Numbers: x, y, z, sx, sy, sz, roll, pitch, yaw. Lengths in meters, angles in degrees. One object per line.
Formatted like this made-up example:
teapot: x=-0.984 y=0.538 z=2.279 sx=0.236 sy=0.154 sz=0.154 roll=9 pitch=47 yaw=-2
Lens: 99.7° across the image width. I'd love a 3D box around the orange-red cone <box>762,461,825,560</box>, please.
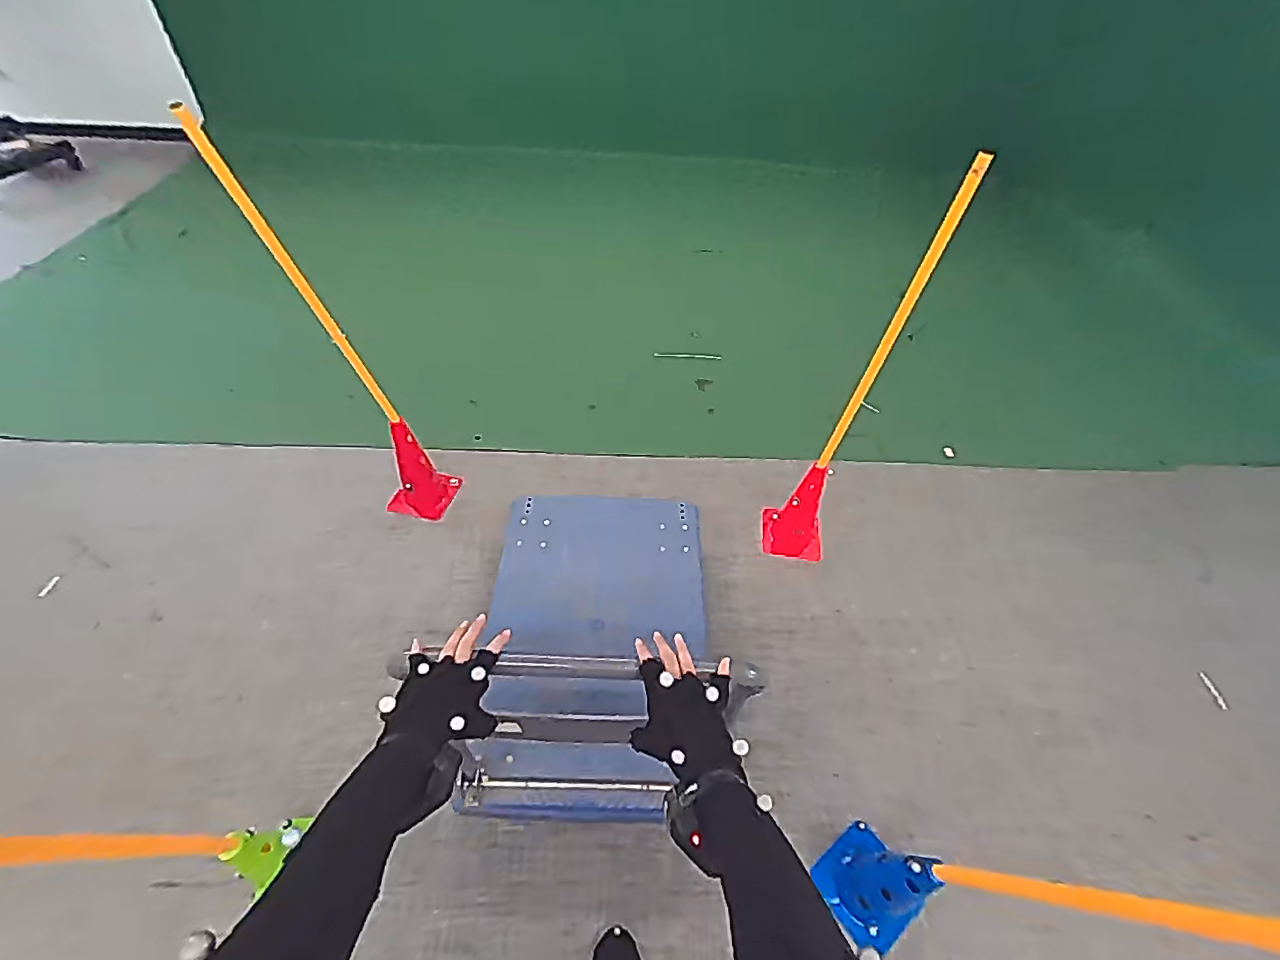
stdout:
orange-red cone: x=0.529 y=0.072 z=1.744 sx=0.198 sy=0.360 sz=0.199 roll=10 pitch=50 yaw=6
